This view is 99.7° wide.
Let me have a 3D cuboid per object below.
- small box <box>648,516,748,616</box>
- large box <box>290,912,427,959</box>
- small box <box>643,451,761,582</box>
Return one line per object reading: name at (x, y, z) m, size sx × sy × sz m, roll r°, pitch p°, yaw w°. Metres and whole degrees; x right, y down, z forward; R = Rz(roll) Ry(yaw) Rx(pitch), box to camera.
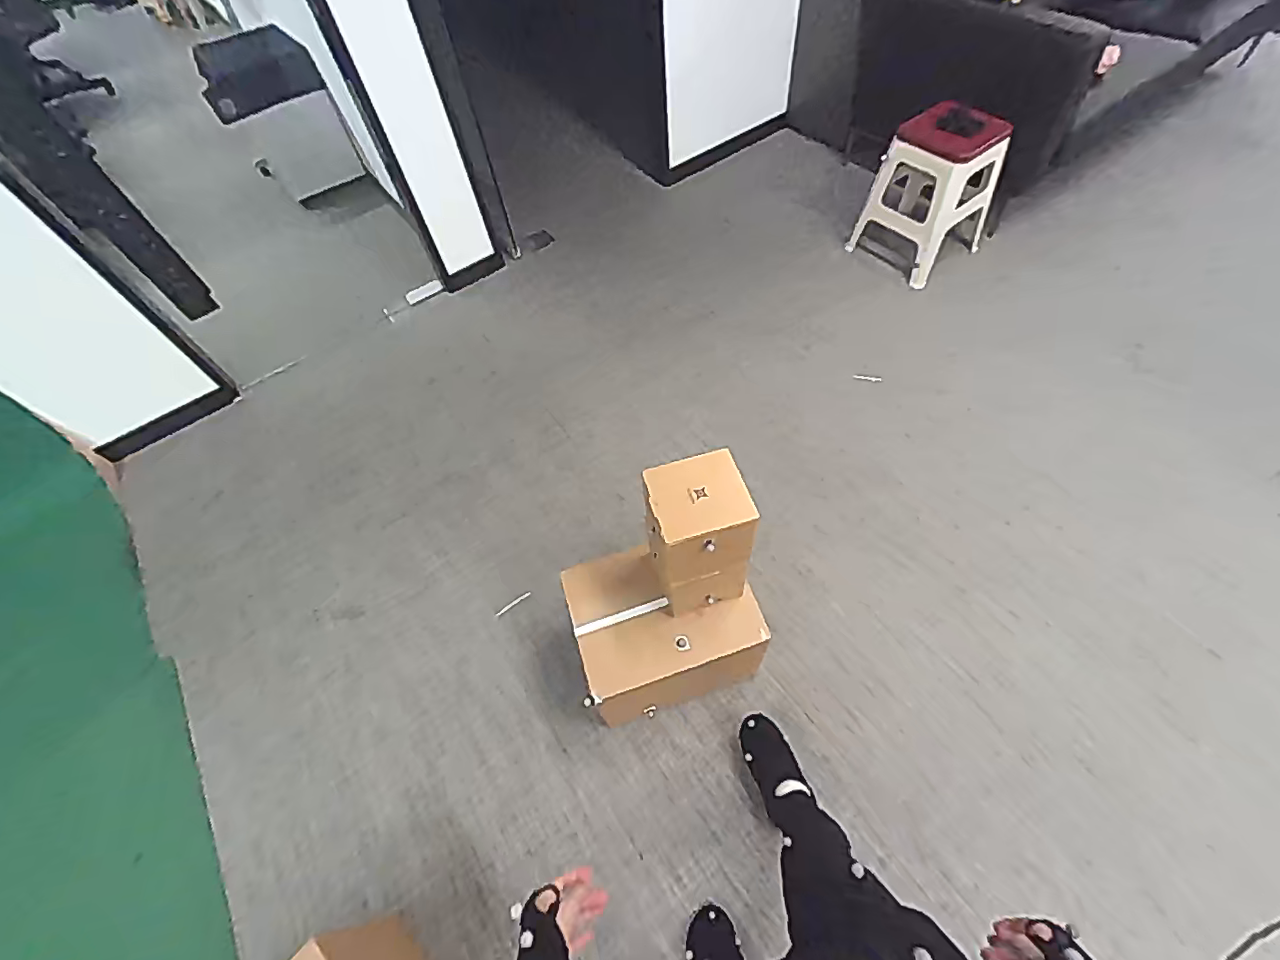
small box at (0.121, 0.167, 1.172) m, size 0.168 × 0.176 × 0.179 m, roll -17°, pitch 55°, yaw -5°
large box at (-0.566, 1.081, 0.937) m, size 0.320 × 0.320 × 0.408 m, roll 34°, pitch 67°, yaw 25°
small box at (0.114, 0.074, 1.039) m, size 0.179 × 0.176 × 0.168 m, roll -16°, pitch 55°, yaw -4°
